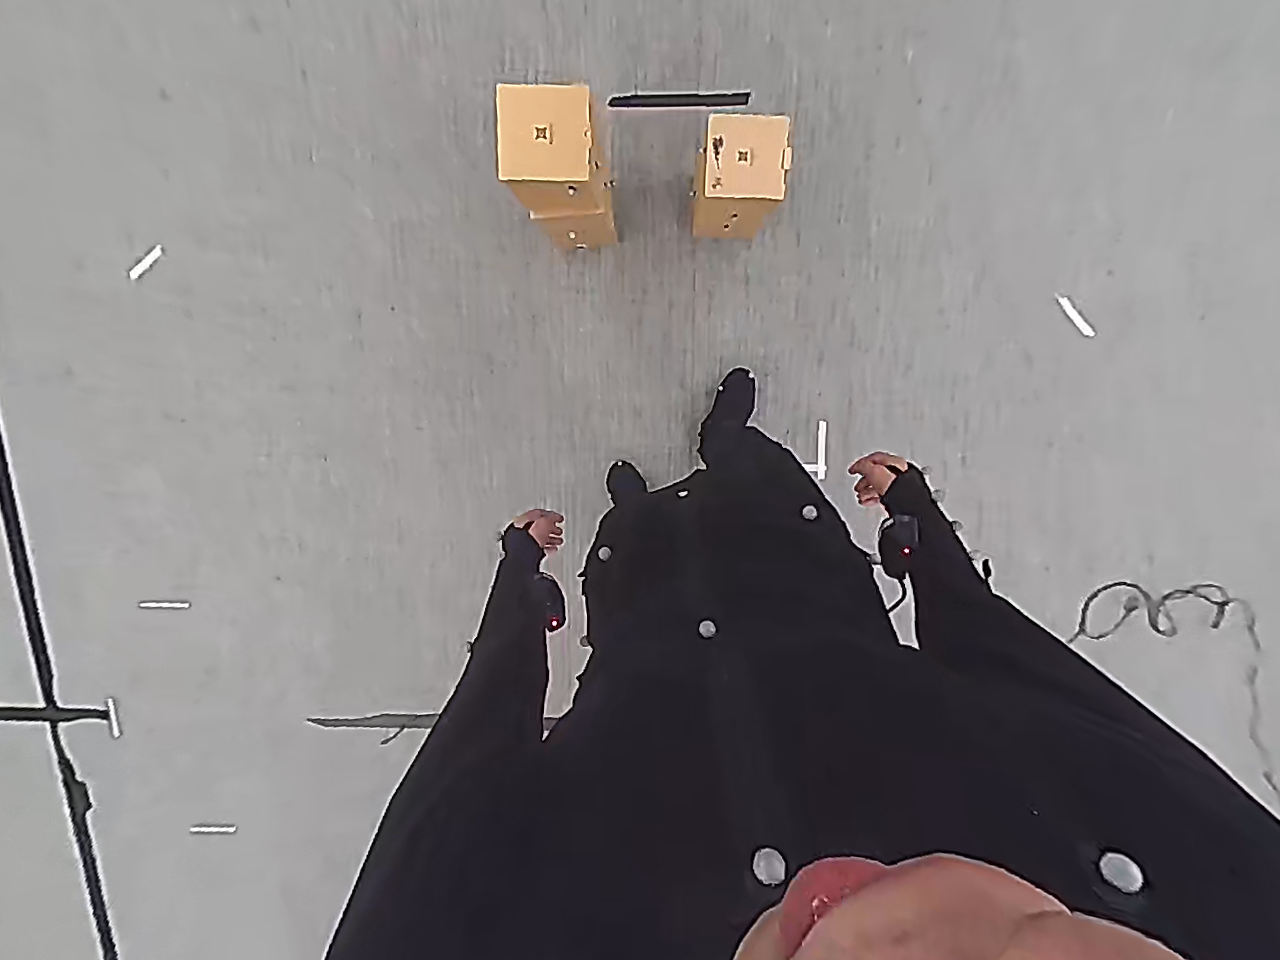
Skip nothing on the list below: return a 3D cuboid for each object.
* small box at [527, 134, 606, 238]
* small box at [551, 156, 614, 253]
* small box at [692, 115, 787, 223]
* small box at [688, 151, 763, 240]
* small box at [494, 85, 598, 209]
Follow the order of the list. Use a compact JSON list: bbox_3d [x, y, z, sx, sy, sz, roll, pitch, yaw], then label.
[{"bbox_3d":[-0.169,-0.674,1.243,0.168,0.176,0.179,-4,101,2],"label":"small box"},{"bbox_3d":[-0.160,-0.708,1.403,0.168,0.176,0.179,-5,101,1],"label":"small box"},{"bbox_3d":[0.221,-0.701,1.237,0.179,0.176,0.168,2,100,-2],"label":"small box"},{"bbox_3d":[0.220,-0.730,1.399,0.179,0.176,0.168,1,101,-1],"label":"small box"},{"bbox_3d":[-0.181,-0.655,1.082,0.179,0.176,0.168,1,100,1],"label":"small box"}]
